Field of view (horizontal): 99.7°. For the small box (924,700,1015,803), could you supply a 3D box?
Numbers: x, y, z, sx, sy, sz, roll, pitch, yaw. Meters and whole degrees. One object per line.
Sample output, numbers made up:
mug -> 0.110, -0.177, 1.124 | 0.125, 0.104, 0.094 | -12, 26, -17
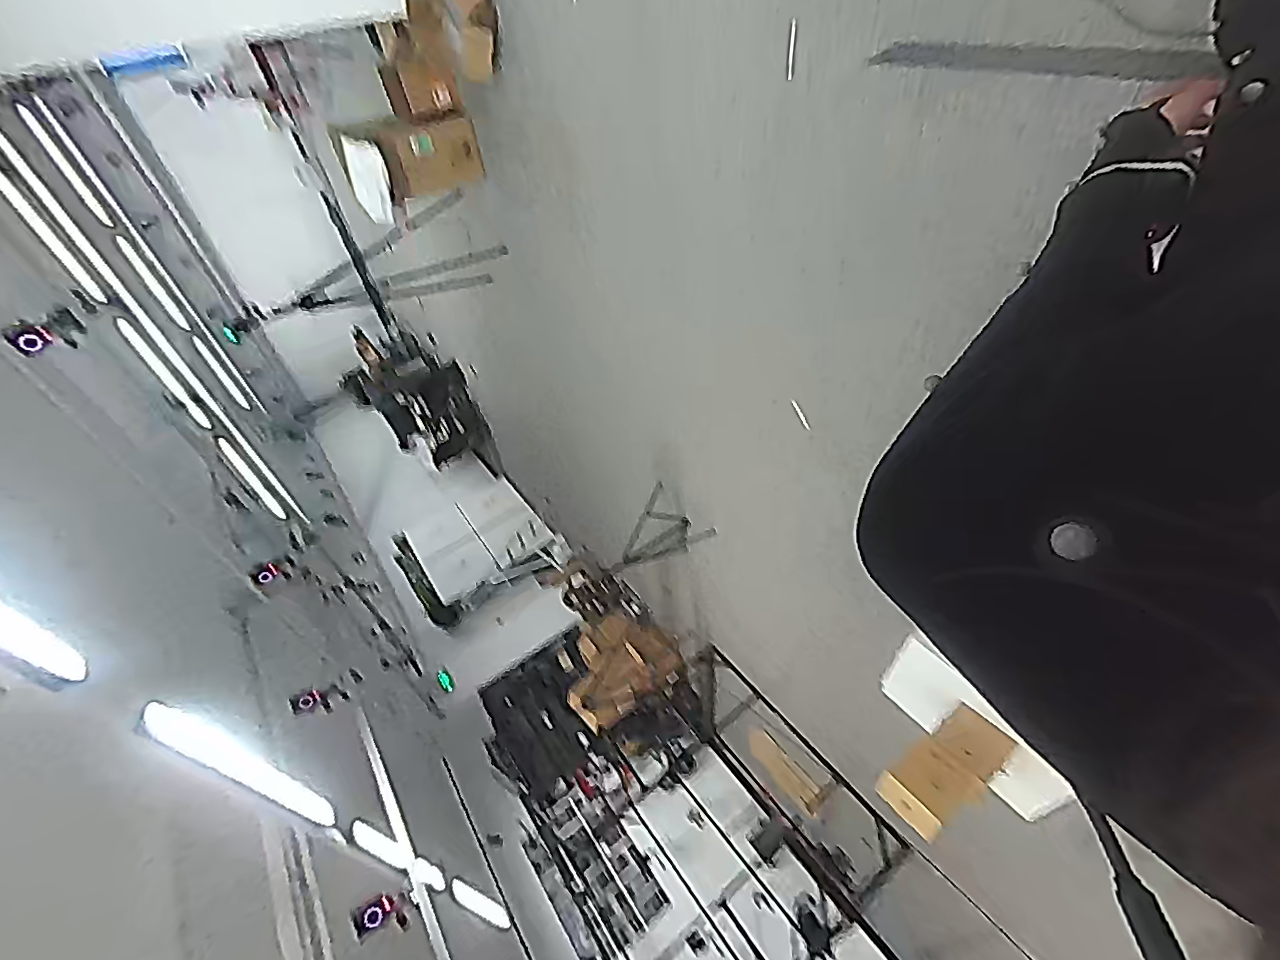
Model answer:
small box -> 0.942, 0.782, 1.570 | 0.179, 0.176, 0.168 | 39, 151, 42

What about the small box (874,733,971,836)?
small box -> 0.801, 0.859, 1.535 | 0.168, 0.176, 0.179 | 40, 152, 39
